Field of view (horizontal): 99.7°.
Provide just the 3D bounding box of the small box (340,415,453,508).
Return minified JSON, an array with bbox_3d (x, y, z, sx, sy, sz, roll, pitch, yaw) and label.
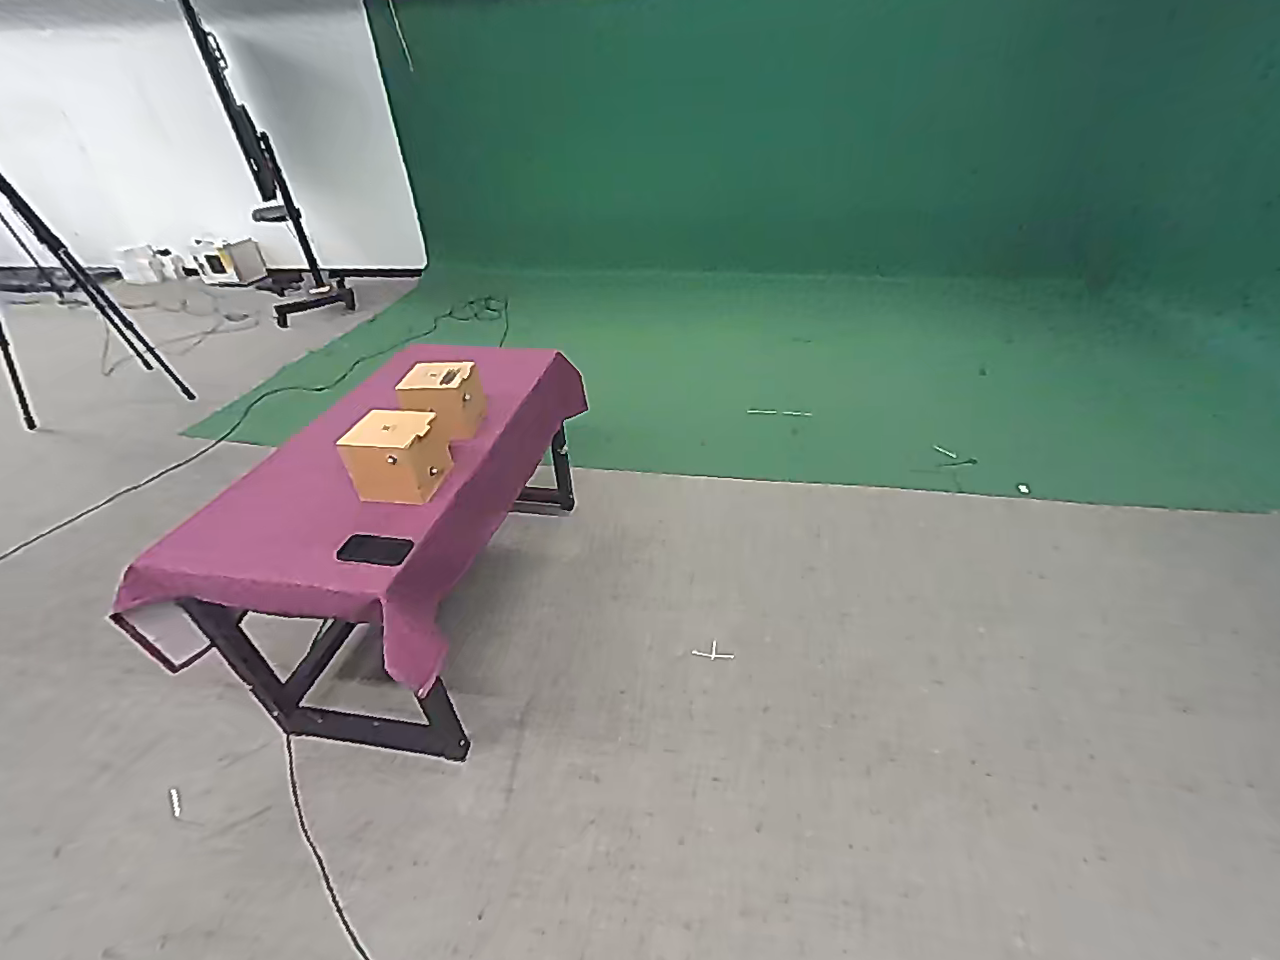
[{"bbox_3d":[-0.592,-0.046,1.338,0.179,0.176,0.168,4,37,8],"label":"small box"}]
